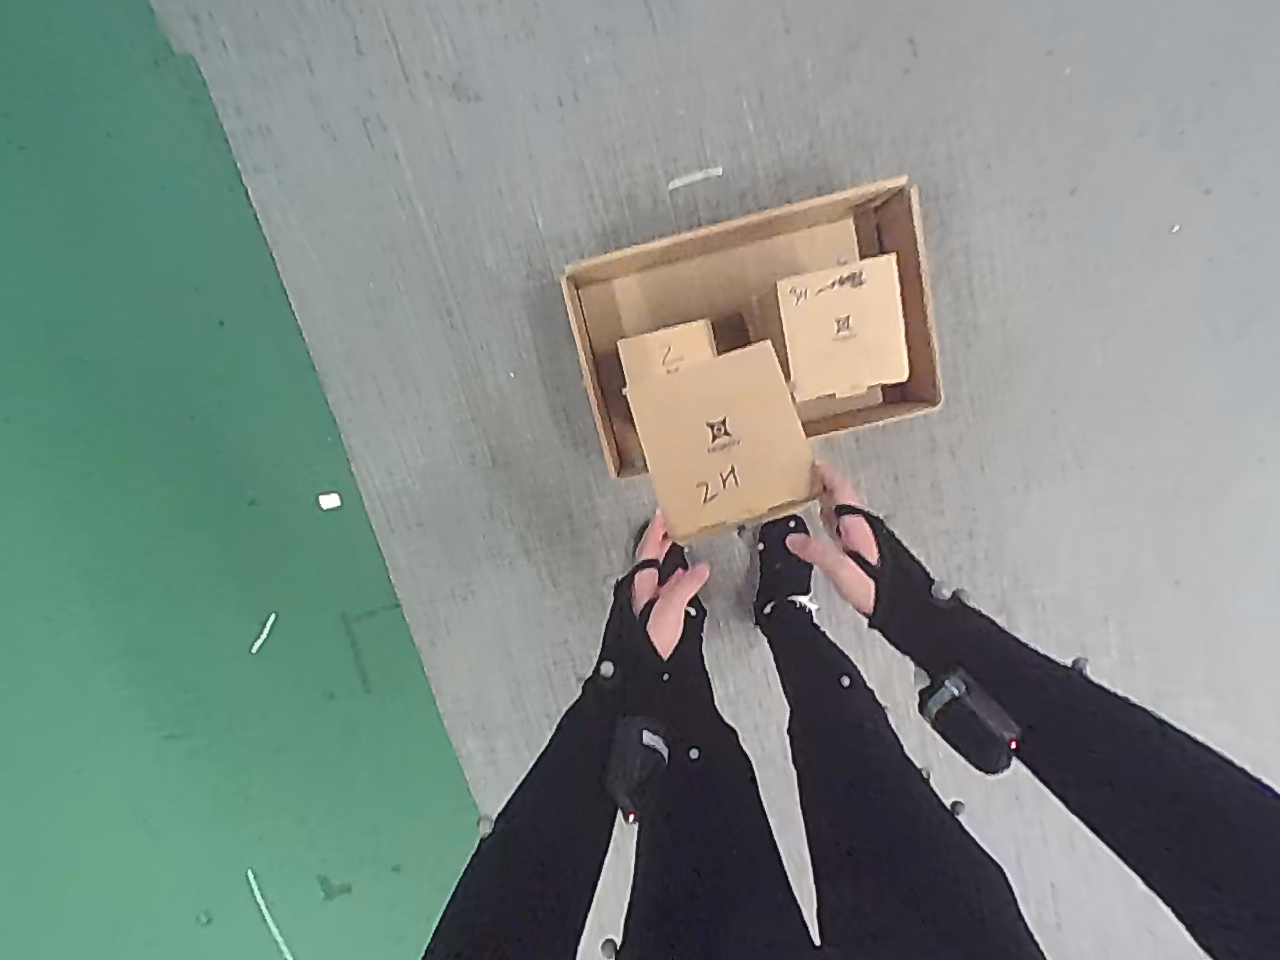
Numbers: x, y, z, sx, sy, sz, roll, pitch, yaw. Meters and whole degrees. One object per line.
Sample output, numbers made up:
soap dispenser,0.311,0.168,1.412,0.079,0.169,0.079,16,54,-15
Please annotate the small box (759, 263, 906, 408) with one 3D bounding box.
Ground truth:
small box,0.291,-0.221,0.844,0.168,0.176,0.179,-11,101,5

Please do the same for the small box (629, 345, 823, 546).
small box,0.097,-0.028,0.641,0.168,0.176,0.179,-17,79,6
